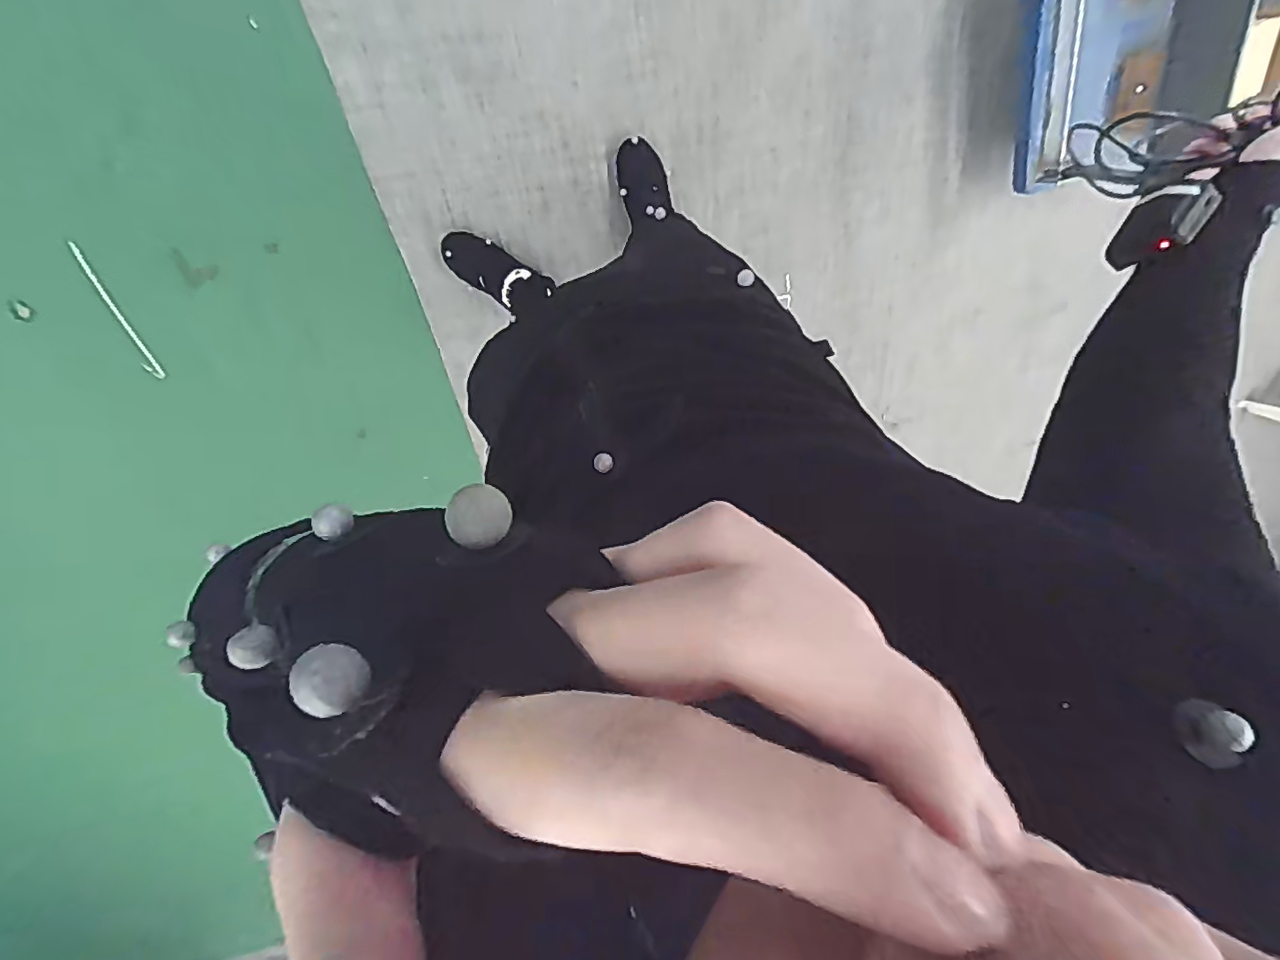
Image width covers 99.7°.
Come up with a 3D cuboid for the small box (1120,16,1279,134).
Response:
[{"bbox_3d":[1.227,-0.885,1.188,0.179,0.176,0.168,-19,125,1],"label":"small box"}]

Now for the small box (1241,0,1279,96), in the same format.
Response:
[{"bbox_3d":[1.456,-0.969,1.182,0.179,0.176,0.168,-22,124,3],"label":"small box"}]
